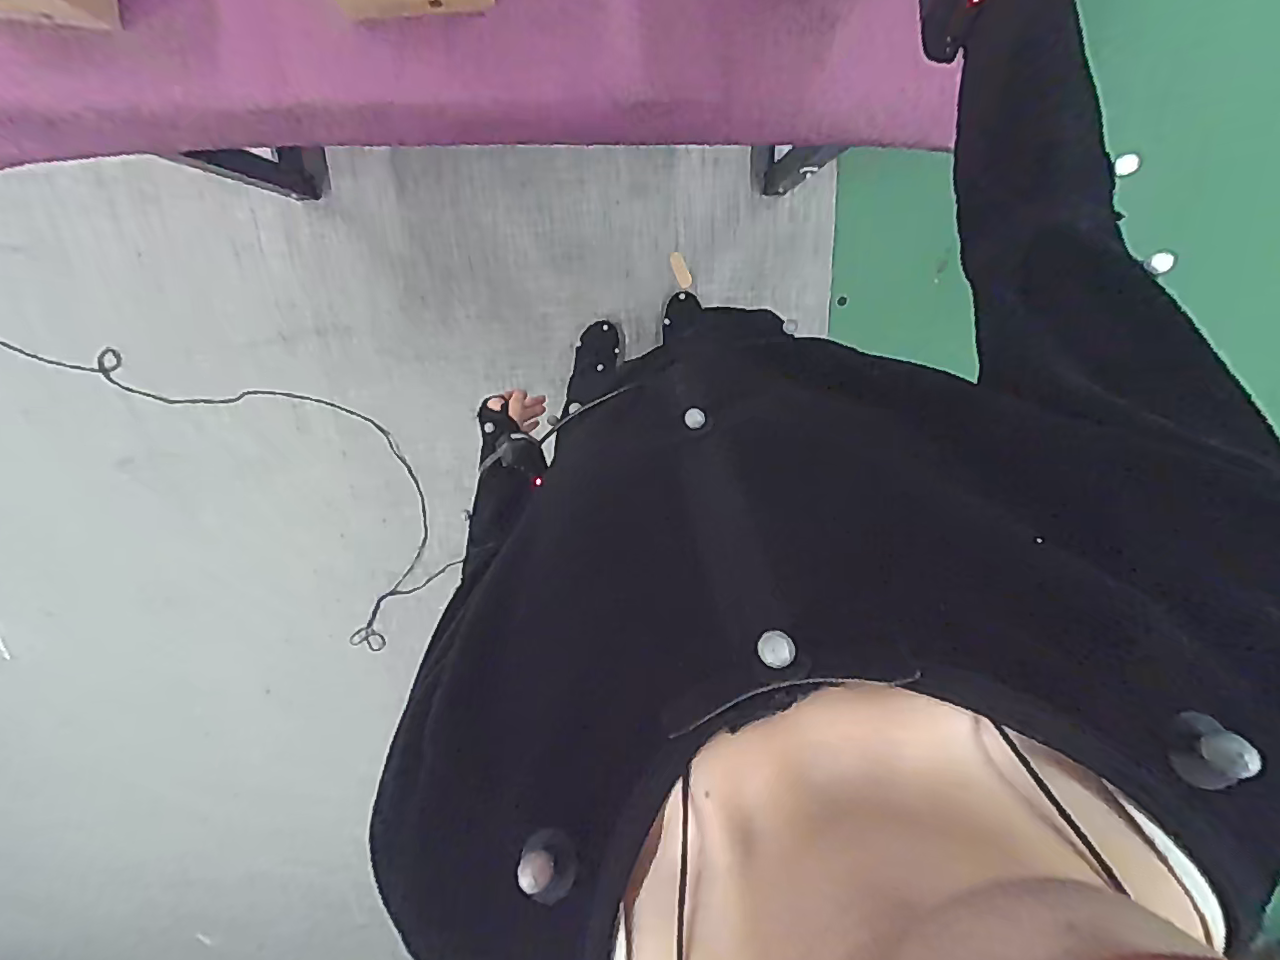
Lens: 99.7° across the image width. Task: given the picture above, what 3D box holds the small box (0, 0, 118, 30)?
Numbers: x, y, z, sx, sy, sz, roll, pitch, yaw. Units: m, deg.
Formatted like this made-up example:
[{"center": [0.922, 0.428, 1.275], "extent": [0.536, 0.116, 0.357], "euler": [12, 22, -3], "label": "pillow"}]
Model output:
[{"center": [-0.638, -0.557, 0.494], "extent": [0.168, 0.176, 0.179], "euler": [5, 107, -4], "label": "small box"}]
